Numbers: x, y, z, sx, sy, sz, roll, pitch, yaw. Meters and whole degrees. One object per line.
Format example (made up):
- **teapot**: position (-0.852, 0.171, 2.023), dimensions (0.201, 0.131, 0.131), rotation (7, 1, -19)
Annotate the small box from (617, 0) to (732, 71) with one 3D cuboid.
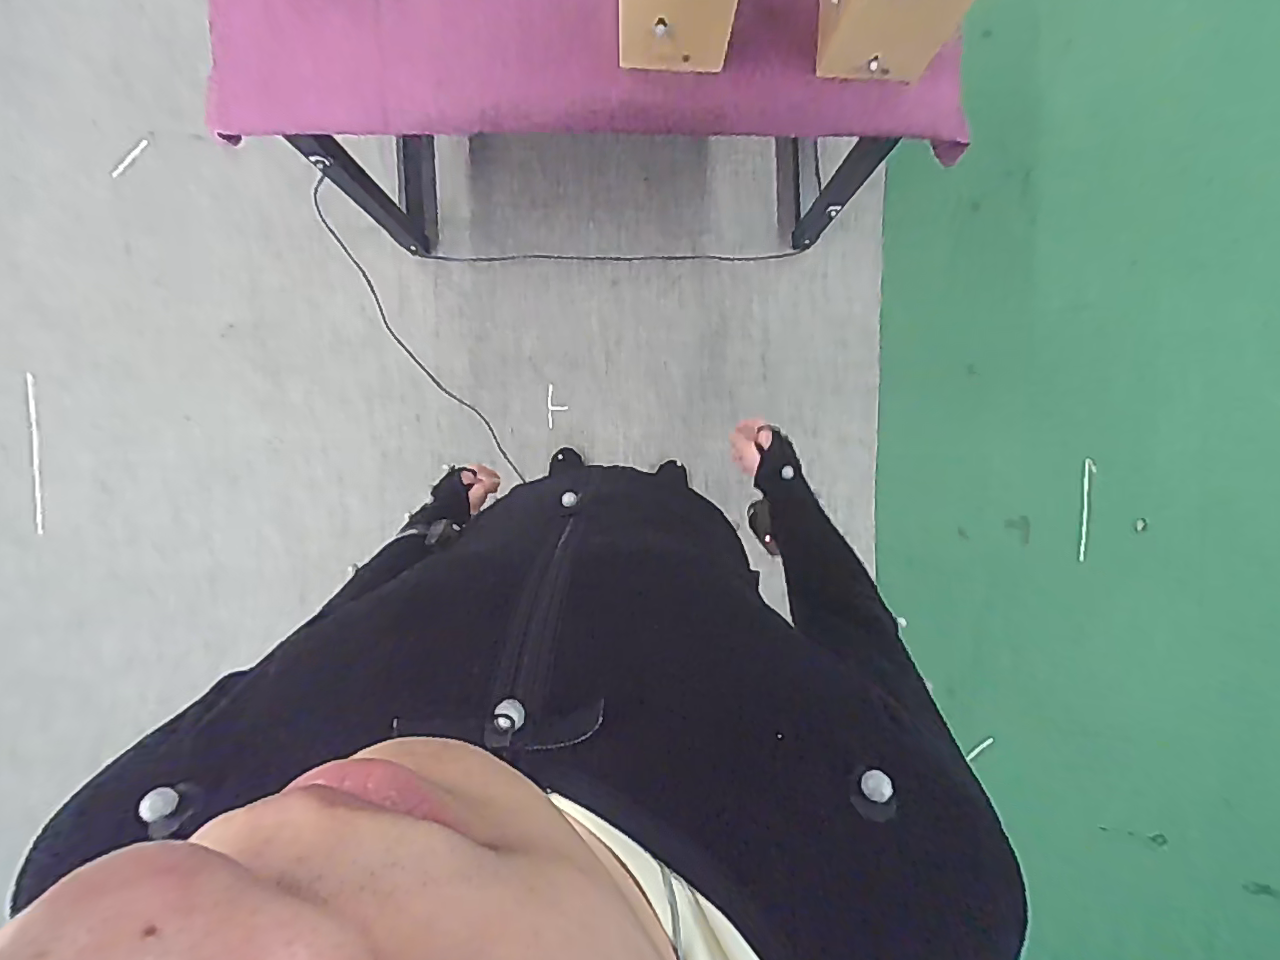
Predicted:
- **small box**: position (0.052, -0.748, 0.798), dimensions (0.168, 0.176, 0.179), rotation (2, 91, -1)
